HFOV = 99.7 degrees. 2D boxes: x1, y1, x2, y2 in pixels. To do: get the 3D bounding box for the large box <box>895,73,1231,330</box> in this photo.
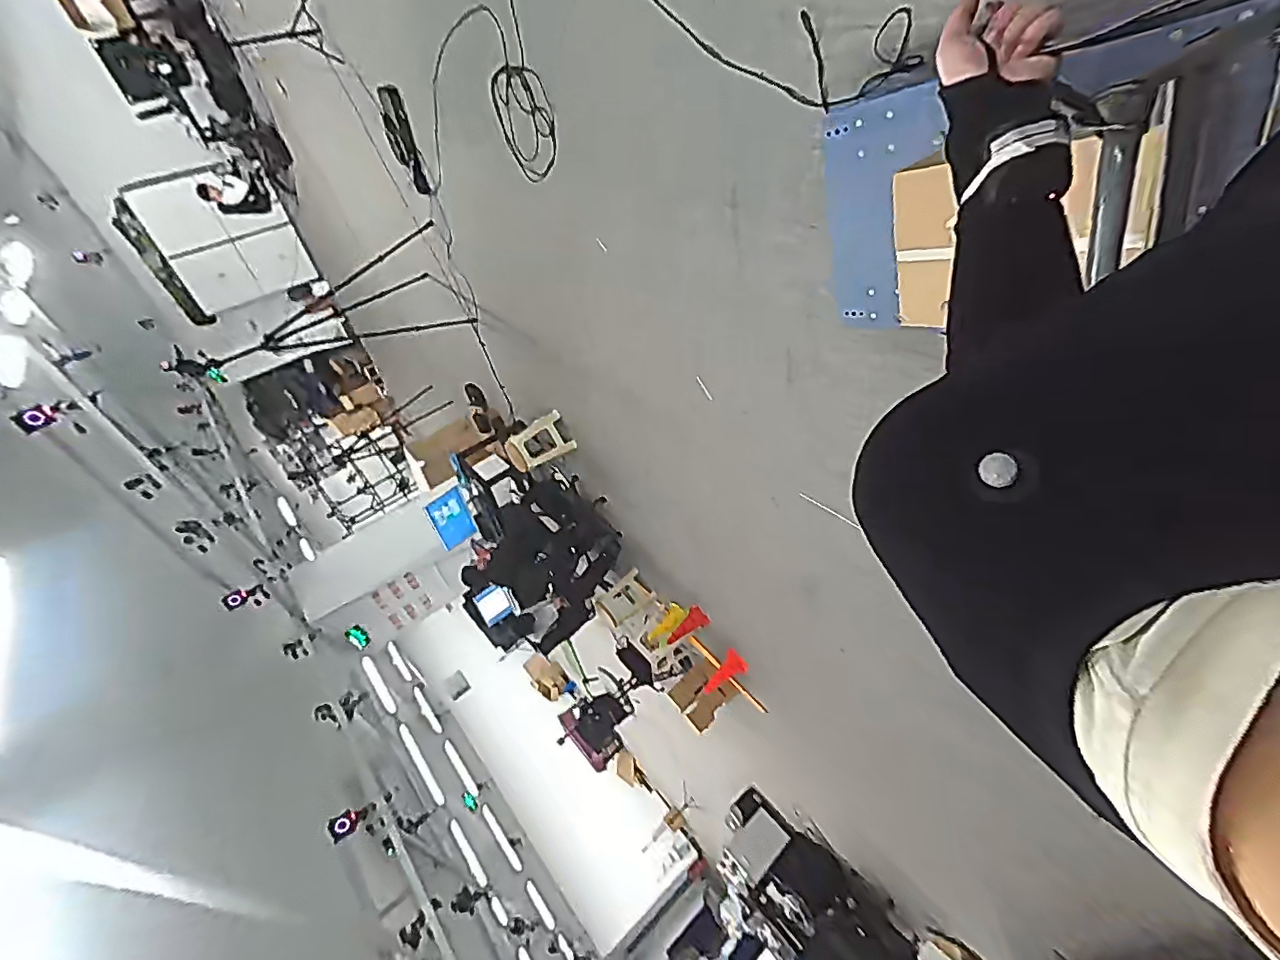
[{"bbox_3d":[0.767,-0.498,1.026,0.408,0.320,0.320,24,140,51],"label":"large box"}]
